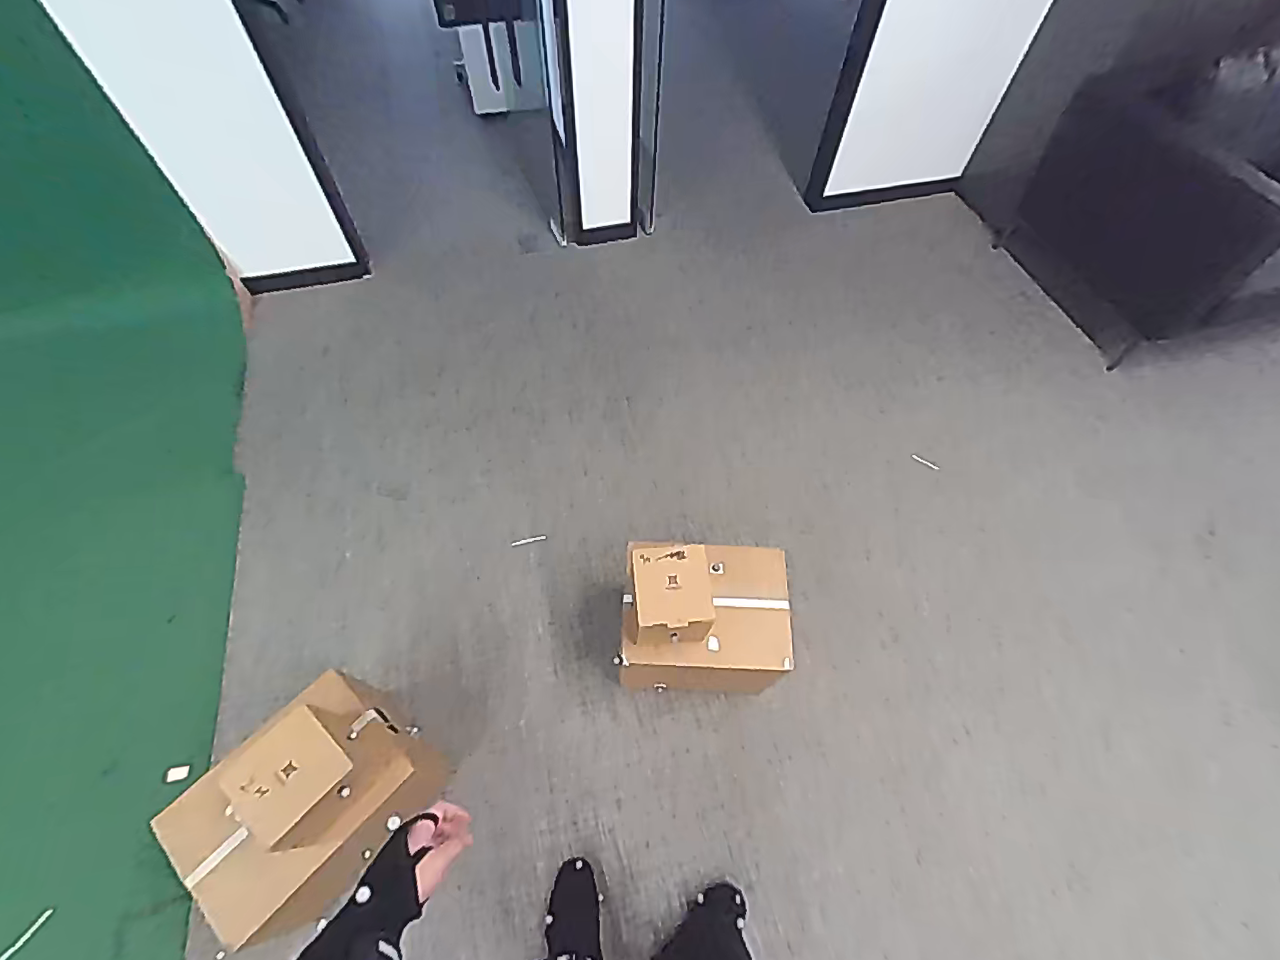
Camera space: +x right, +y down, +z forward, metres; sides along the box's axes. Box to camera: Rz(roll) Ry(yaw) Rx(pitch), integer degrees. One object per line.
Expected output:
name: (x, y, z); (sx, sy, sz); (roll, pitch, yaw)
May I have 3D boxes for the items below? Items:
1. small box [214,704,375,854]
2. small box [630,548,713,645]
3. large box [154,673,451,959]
small box: (-0.632, 0.560, 1.021); (0.168, 0.176, 0.179); (38, 64, 18)
small box: (0.065, 0.270, 1.229); (0.168, 0.176, 0.179); (-3, 60, -5)
large box: (-0.712, 0.716, 1.212); (0.320, 0.320, 0.408); (37, 65, 20)
